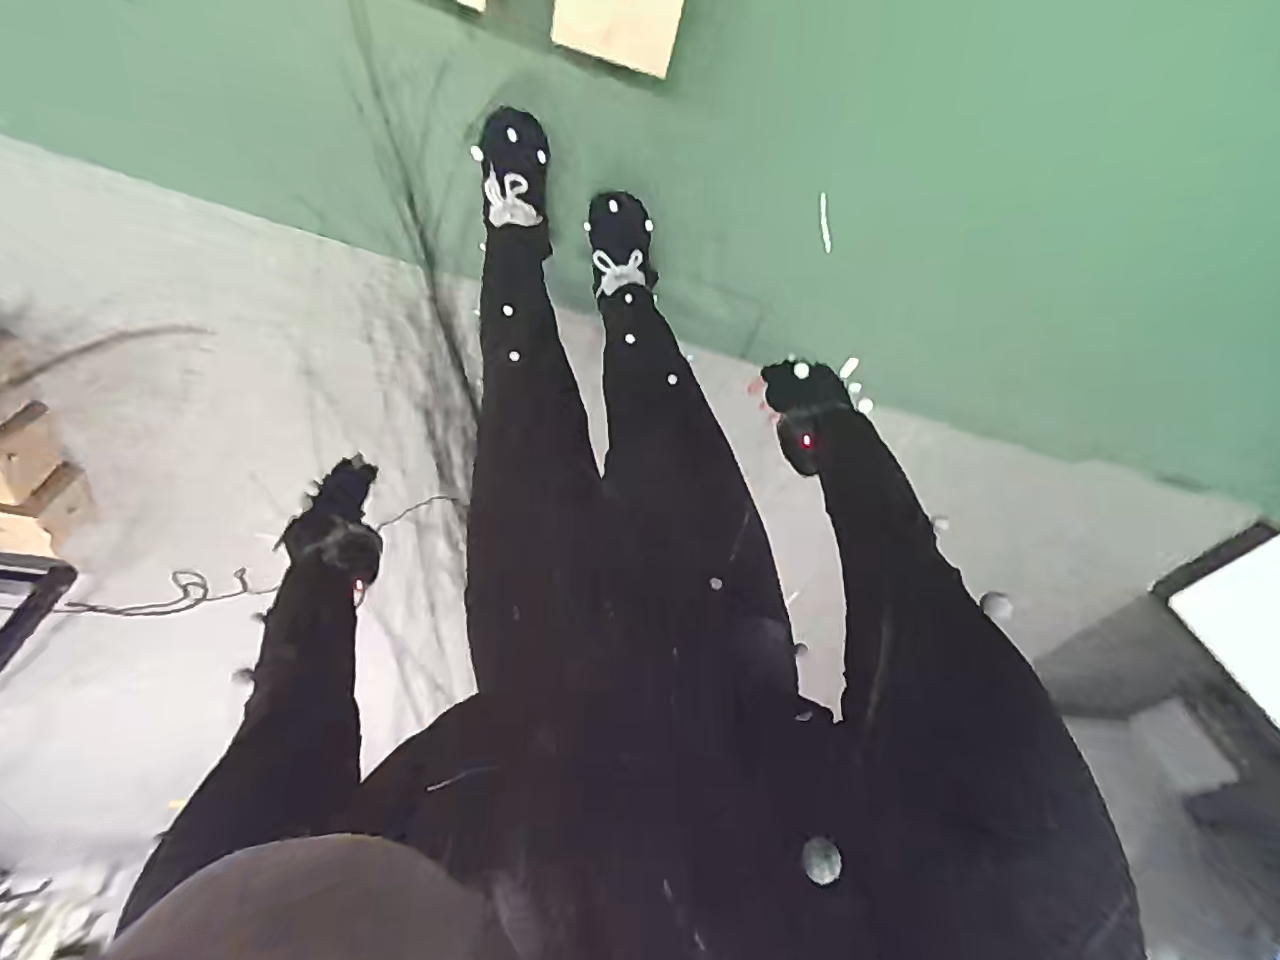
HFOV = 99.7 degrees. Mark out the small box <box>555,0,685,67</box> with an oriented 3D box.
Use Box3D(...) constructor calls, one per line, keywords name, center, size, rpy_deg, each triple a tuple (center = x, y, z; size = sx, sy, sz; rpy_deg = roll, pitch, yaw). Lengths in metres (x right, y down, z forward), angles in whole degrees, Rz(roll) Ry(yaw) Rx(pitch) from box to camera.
Box3D(name="small box", center=(-0.021, -0.714, 0.747), size=(0.168, 0.176, 0.179), rpy_deg=(9, 133, -14))
